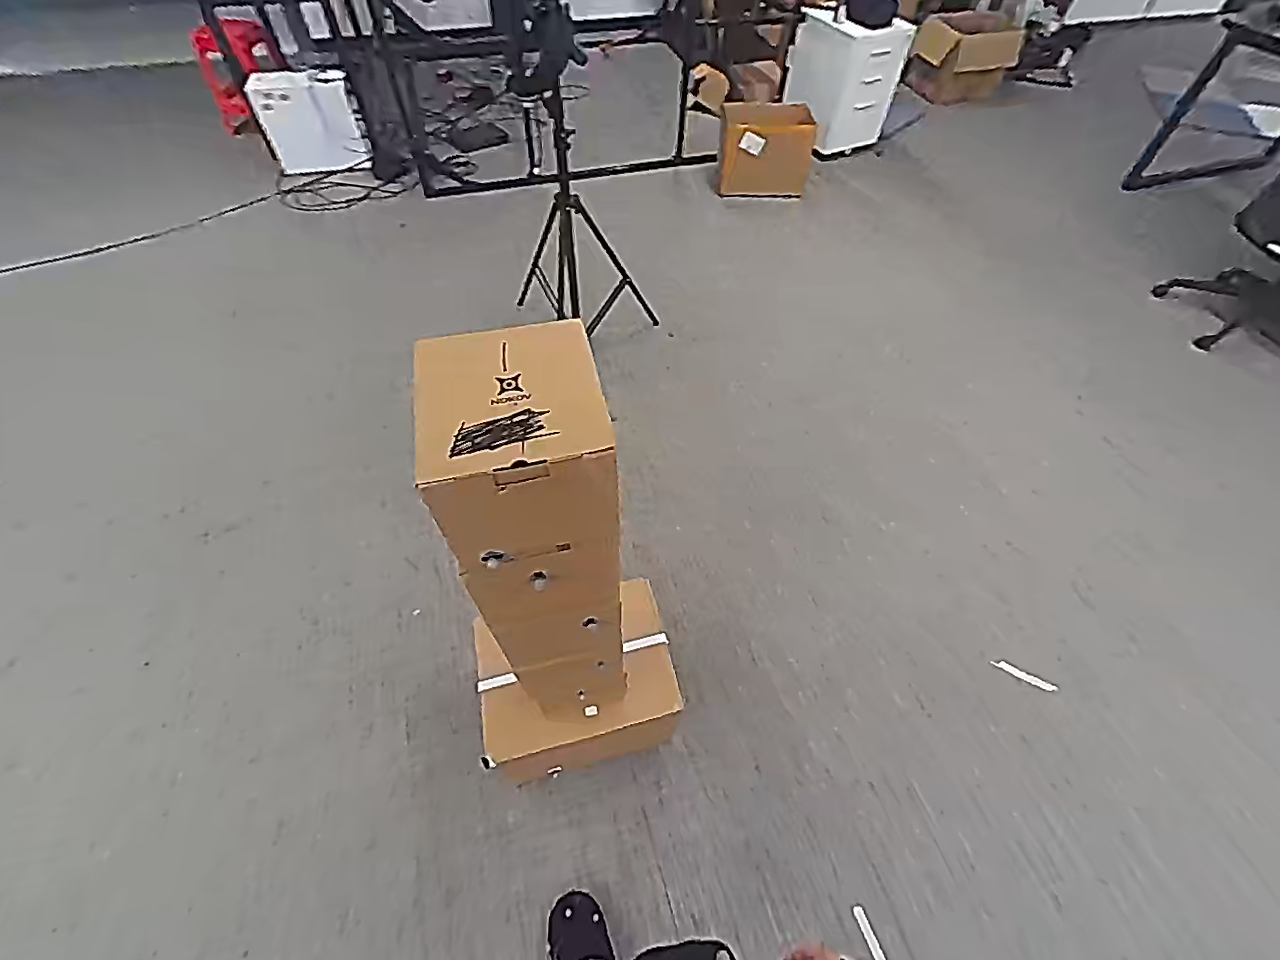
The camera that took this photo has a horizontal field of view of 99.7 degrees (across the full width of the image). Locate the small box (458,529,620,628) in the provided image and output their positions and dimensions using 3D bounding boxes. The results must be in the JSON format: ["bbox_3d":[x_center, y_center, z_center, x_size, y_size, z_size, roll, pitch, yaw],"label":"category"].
[{"bbox_3d":[-0.127,0.070,0.687,0.179,0.176,0.168,-11,56,-9],"label":"small box"}]

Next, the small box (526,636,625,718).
[{"bbox_3d":[-0.134,0.358,1.084,0.179,0.176,0.168,-13,57,-12],"label":"small box"}]

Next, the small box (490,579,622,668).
[{"bbox_3d":[-0.130,0.165,0.818,0.179,0.176,0.168,-11,55,-9],"label":"small box"}]

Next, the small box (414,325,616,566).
[{"bbox_3d":[-0.121,-0.027,0.554,0.168,0.176,0.179,-11,55,-9],"label":"small box"}]
